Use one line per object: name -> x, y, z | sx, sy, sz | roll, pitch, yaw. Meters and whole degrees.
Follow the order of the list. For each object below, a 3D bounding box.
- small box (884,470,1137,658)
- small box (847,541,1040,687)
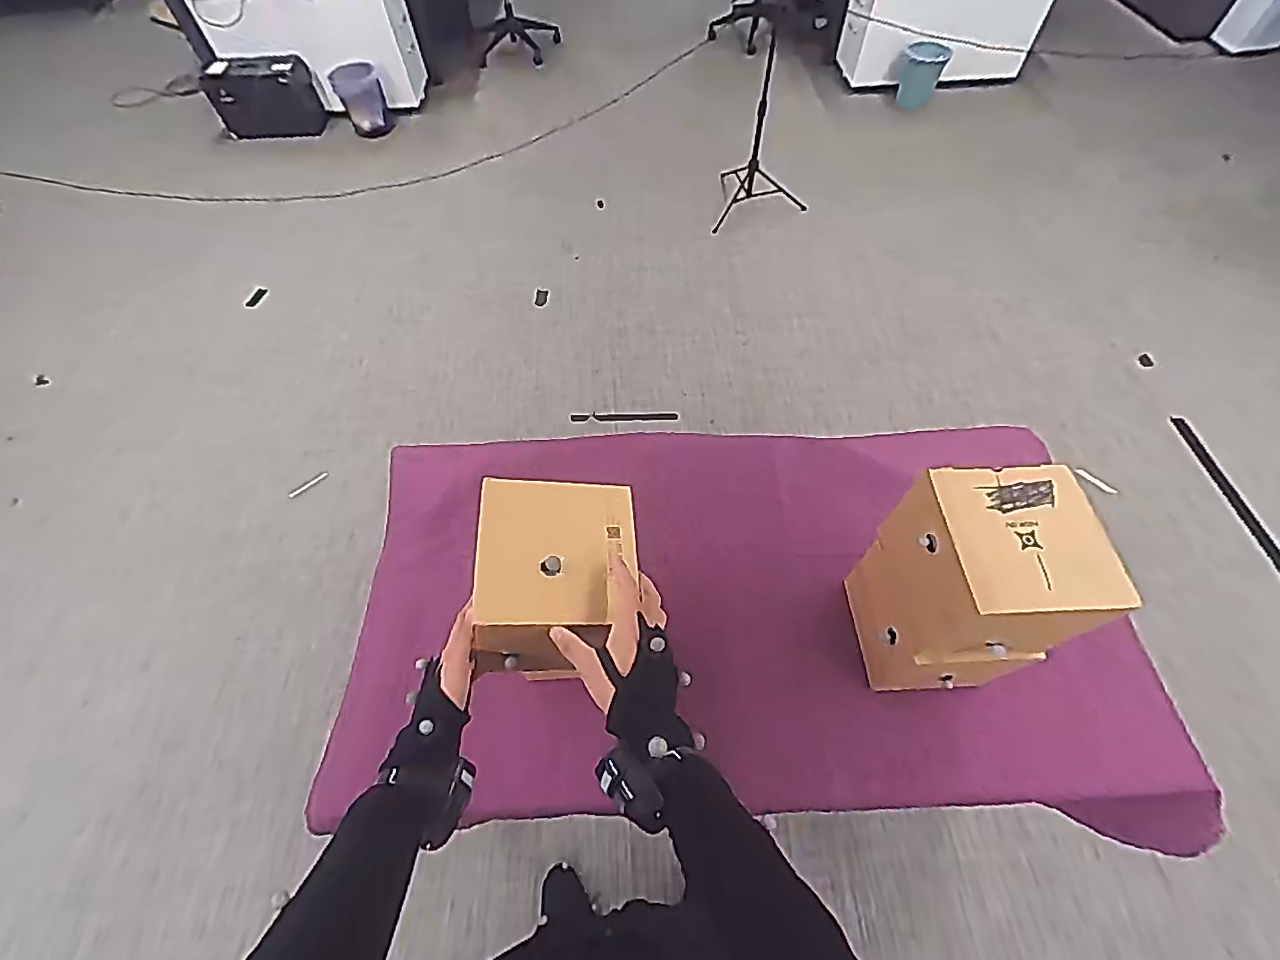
small box -> 0.420, 0.106, 0.655 | 0.168, 0.176, 0.179 | -2, 59, 1
small box -> 0.423, 0.200, 0.790 | 0.168, 0.176, 0.179 | -2, 58, 0
